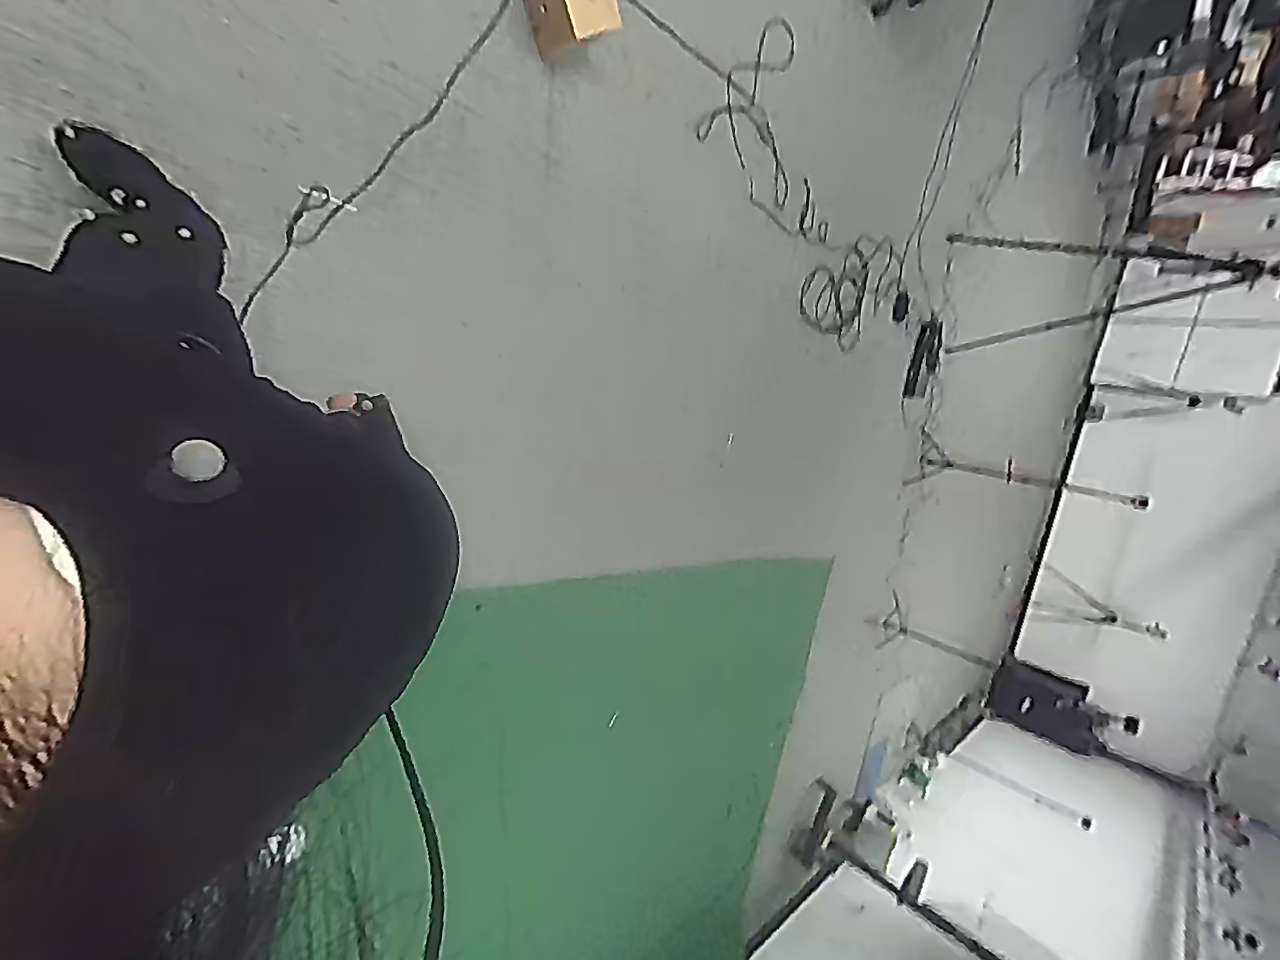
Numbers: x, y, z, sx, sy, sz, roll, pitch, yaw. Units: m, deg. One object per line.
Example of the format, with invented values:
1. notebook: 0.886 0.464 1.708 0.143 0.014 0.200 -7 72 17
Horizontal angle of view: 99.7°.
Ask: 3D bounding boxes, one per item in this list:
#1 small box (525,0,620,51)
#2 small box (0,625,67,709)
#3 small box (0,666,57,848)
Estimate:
1. small box: -0.187 -1.263 1.419 0.179 0.176 0.168 -40 128 -28
2. small box: -1.018 0.343 0.835 0.168 0.176 0.179 9 95 -46
3. small box: -0.906 0.377 0.719 0.168 0.176 0.179 5 100 -45
